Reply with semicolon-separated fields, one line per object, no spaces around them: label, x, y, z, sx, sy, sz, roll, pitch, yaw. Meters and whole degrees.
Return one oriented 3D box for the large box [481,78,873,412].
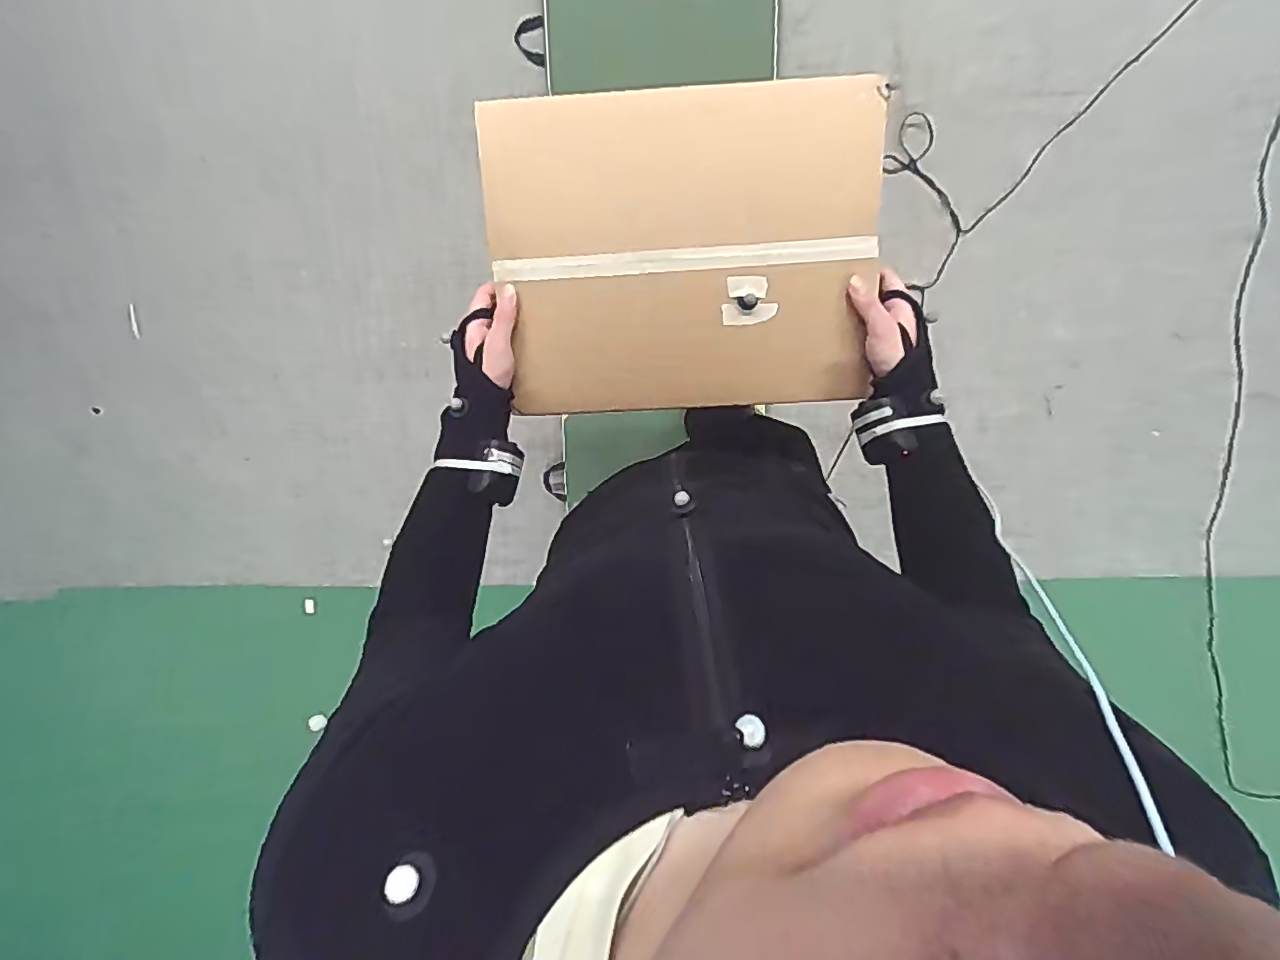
large box;0.045;-0.277;0.724;0.408;0.320;0.320;-3;106;1
